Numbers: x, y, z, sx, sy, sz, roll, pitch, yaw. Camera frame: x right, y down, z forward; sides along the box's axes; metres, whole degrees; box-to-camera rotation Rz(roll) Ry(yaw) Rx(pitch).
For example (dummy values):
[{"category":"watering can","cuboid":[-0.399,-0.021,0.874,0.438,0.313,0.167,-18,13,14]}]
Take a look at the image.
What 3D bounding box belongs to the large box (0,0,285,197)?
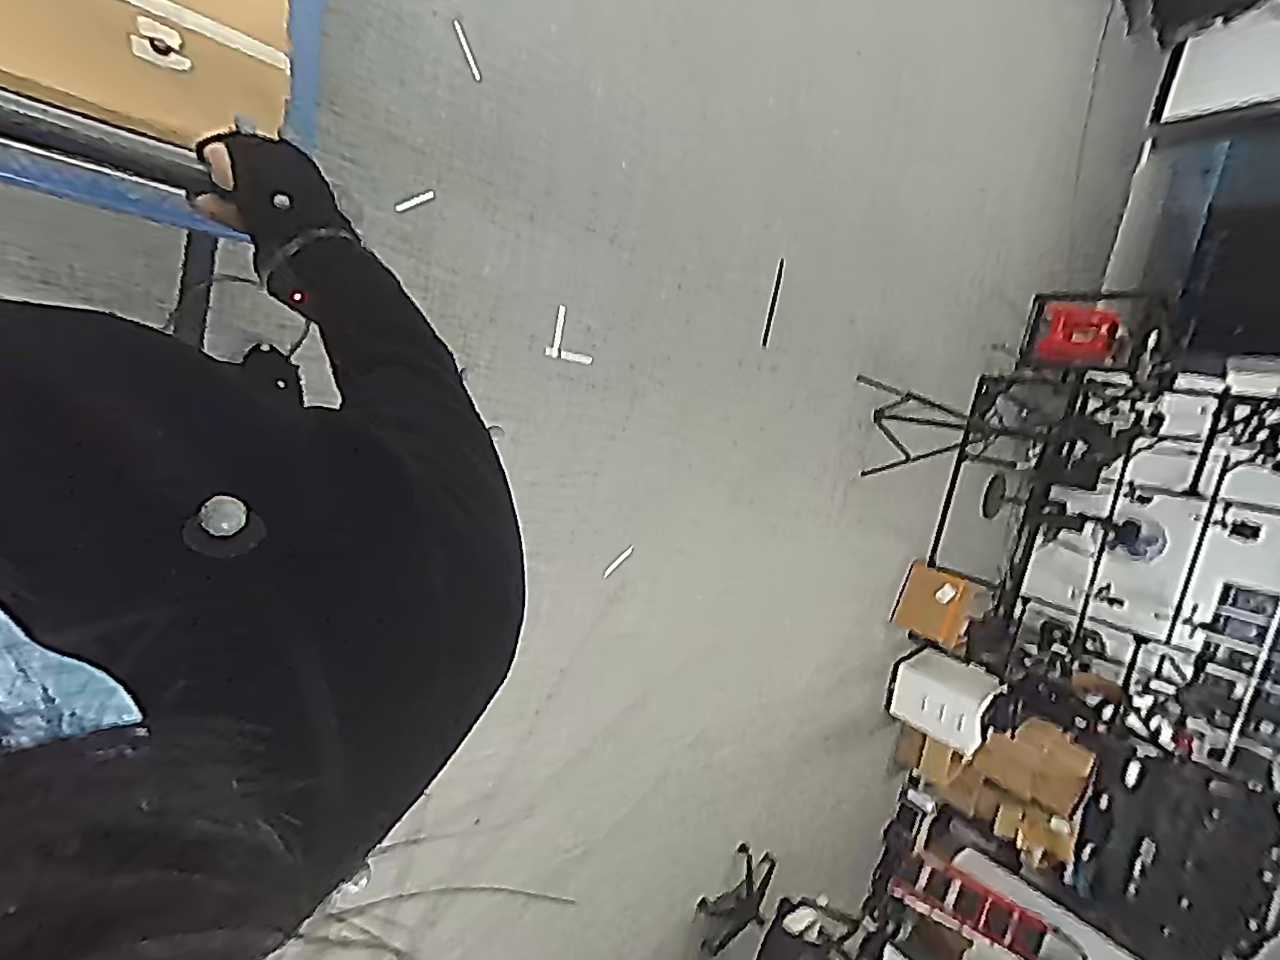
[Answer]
[{"category":"large box","cuboid":[-0.770,-0.646,0.765,0.408,0.320,0.320,1,105,-42]}]
